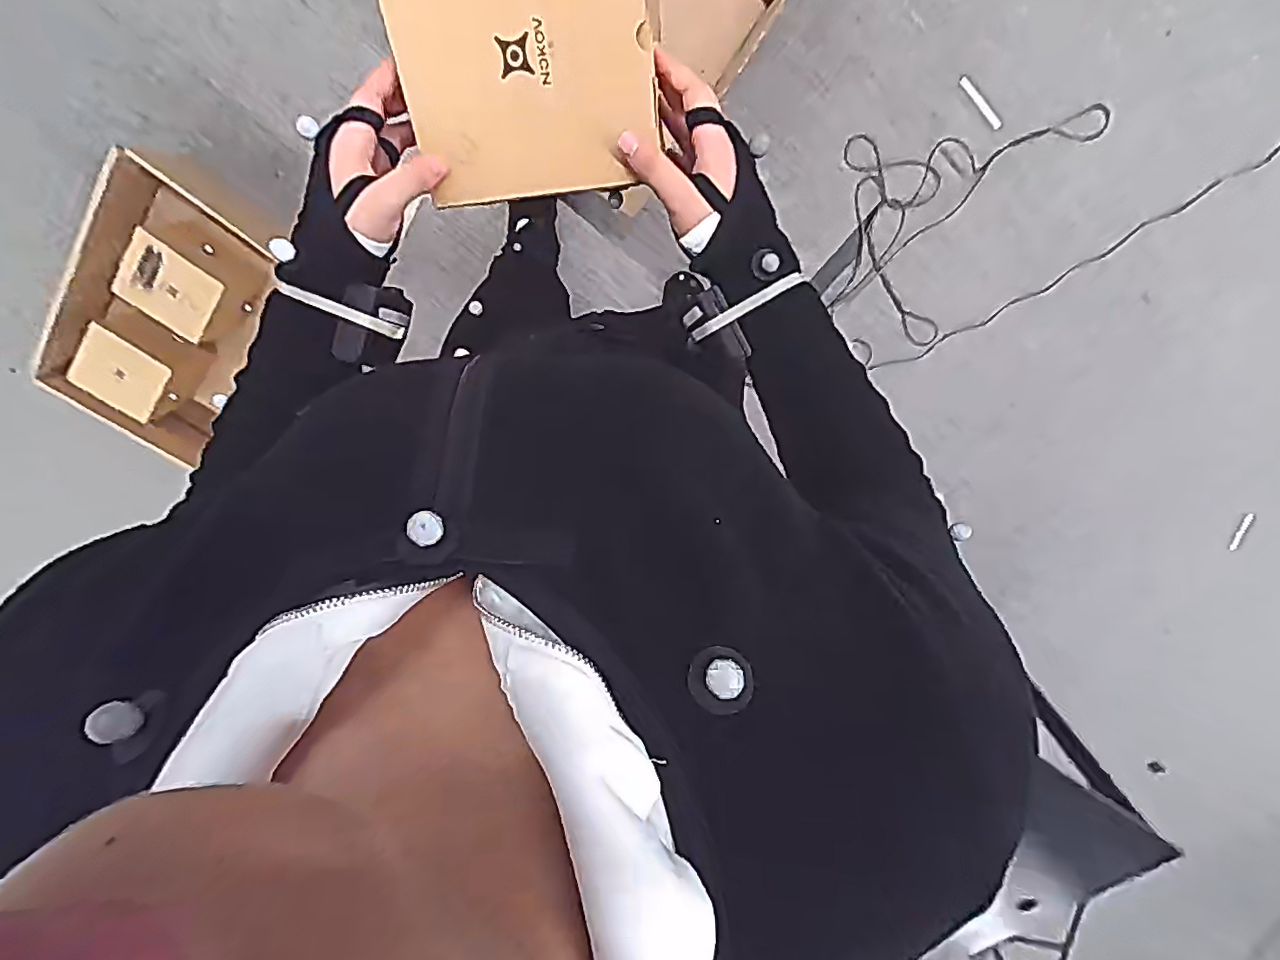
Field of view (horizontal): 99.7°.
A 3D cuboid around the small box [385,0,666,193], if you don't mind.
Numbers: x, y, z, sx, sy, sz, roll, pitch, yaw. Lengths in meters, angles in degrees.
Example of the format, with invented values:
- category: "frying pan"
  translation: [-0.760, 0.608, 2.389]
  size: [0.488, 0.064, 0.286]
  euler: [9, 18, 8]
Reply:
- category: "small box"
  translation: [-0.073, -0.329, 0.432]
  size: [0.179, 0.176, 0.168]
  euler: [-4, 119, 6]

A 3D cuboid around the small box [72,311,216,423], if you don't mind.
- category: "small box"
  translation: [-1.164, -0.272, 1.284]
  size: [0.168, 0.176, 0.179]
  euler: [37, 110, -21]
